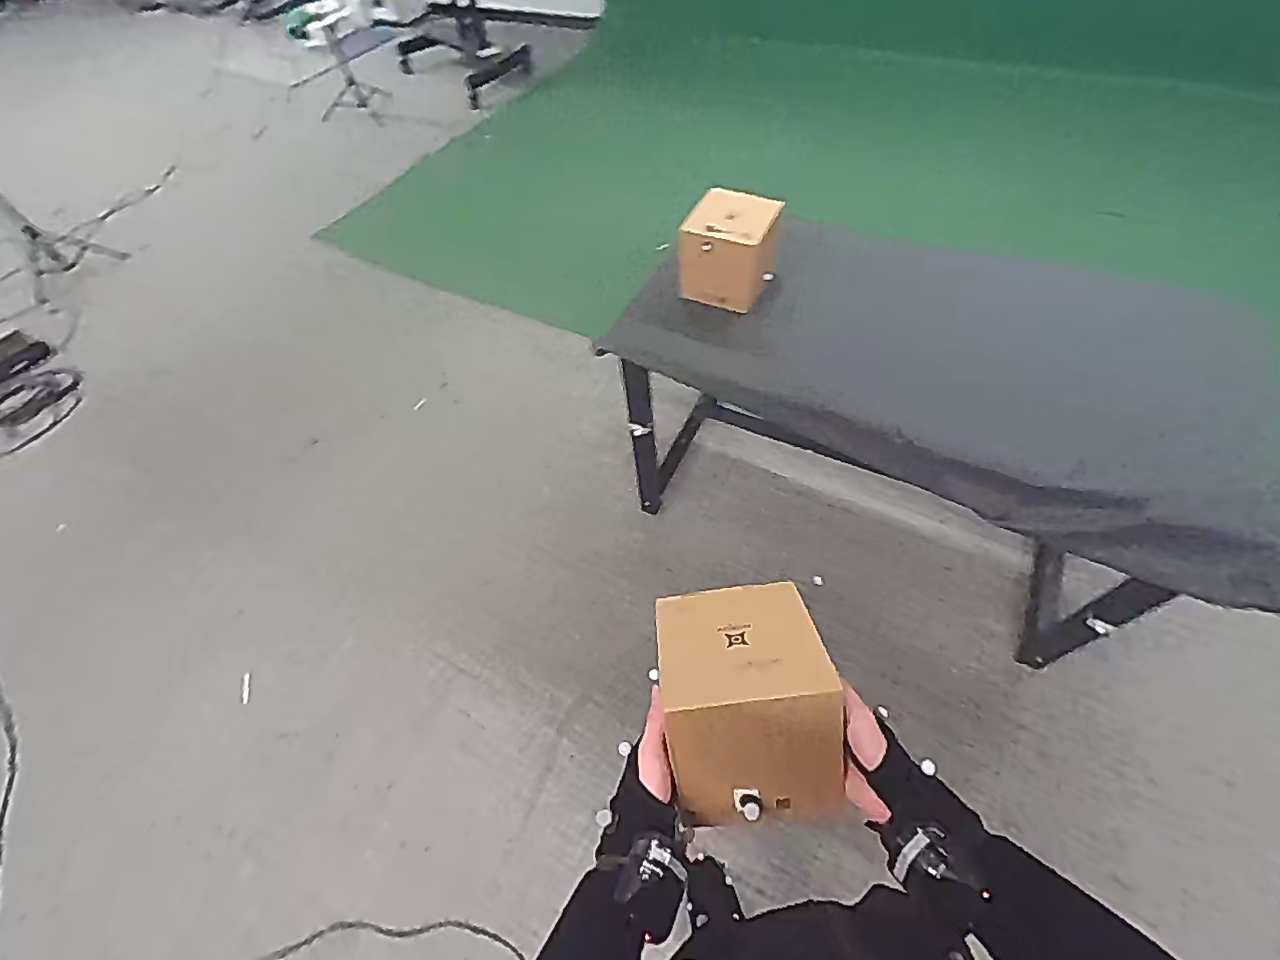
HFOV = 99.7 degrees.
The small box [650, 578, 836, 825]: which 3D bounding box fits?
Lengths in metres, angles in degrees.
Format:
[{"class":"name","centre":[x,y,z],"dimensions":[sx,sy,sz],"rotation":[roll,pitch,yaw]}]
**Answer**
[{"class":"small box","centre":[0.104,0.234,0.591],"dimensions":[0.168,0.176,0.179],"rotation":[-9,24,3]}]

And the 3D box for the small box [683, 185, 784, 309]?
[{"class":"small box","centre":[0.199,-0.511,1.189],"dimensions":[0.168,0.176,0.179],"rotation":[21,60,18]}]
